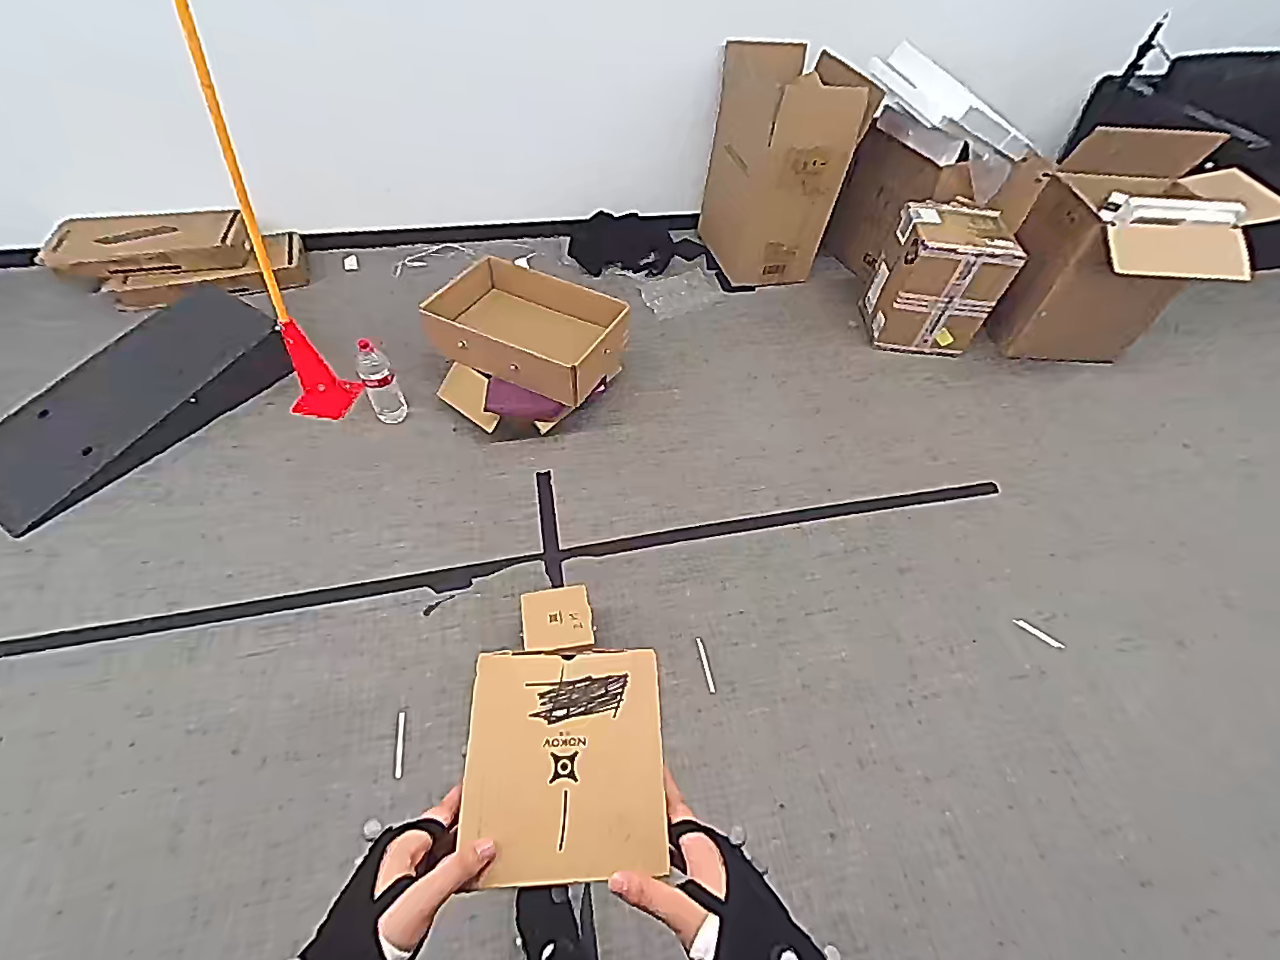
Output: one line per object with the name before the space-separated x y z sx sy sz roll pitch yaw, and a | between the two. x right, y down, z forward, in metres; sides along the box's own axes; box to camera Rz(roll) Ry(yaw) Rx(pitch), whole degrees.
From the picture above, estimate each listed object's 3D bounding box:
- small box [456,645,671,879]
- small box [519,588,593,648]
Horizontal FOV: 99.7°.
small box | -0.067 0.272 0.522 0.168 0.176 0.179 0 56 -5
small box | -0.221 0.409 1.443 0.179 0.176 0.168 -6 54 -10
